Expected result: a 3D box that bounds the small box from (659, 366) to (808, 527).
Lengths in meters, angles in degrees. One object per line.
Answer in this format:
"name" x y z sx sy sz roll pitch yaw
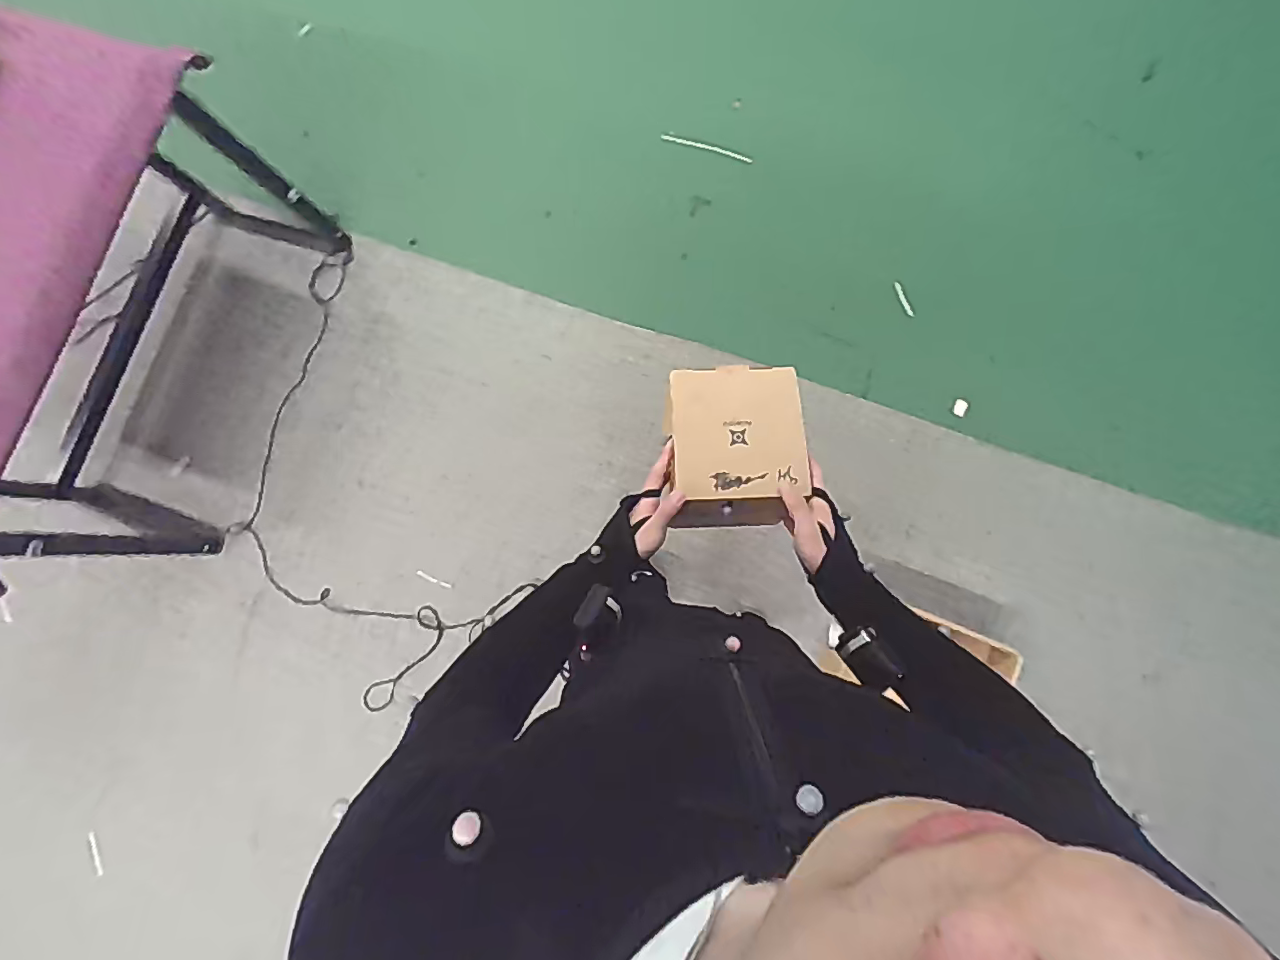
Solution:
"small box" 0.115 -0.039 0.743 0.168 0.176 0.179 -2 75 -2
